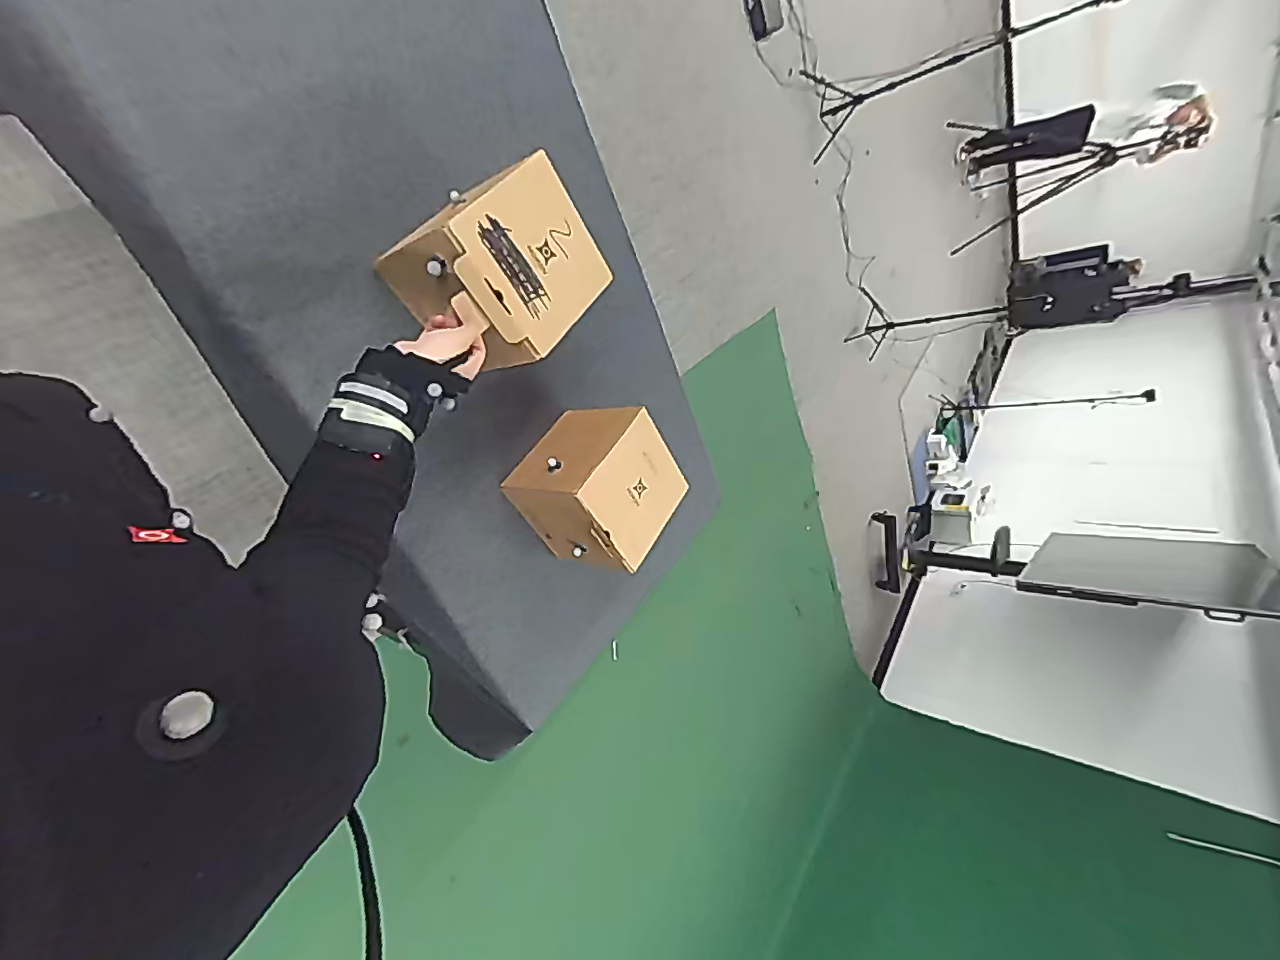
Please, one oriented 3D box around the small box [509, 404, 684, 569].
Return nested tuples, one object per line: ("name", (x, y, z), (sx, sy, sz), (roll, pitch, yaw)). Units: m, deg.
("small box", (-0.069, 0.006, 0.807), (0.179, 0.176, 0.168), (-56, 132, -31))
